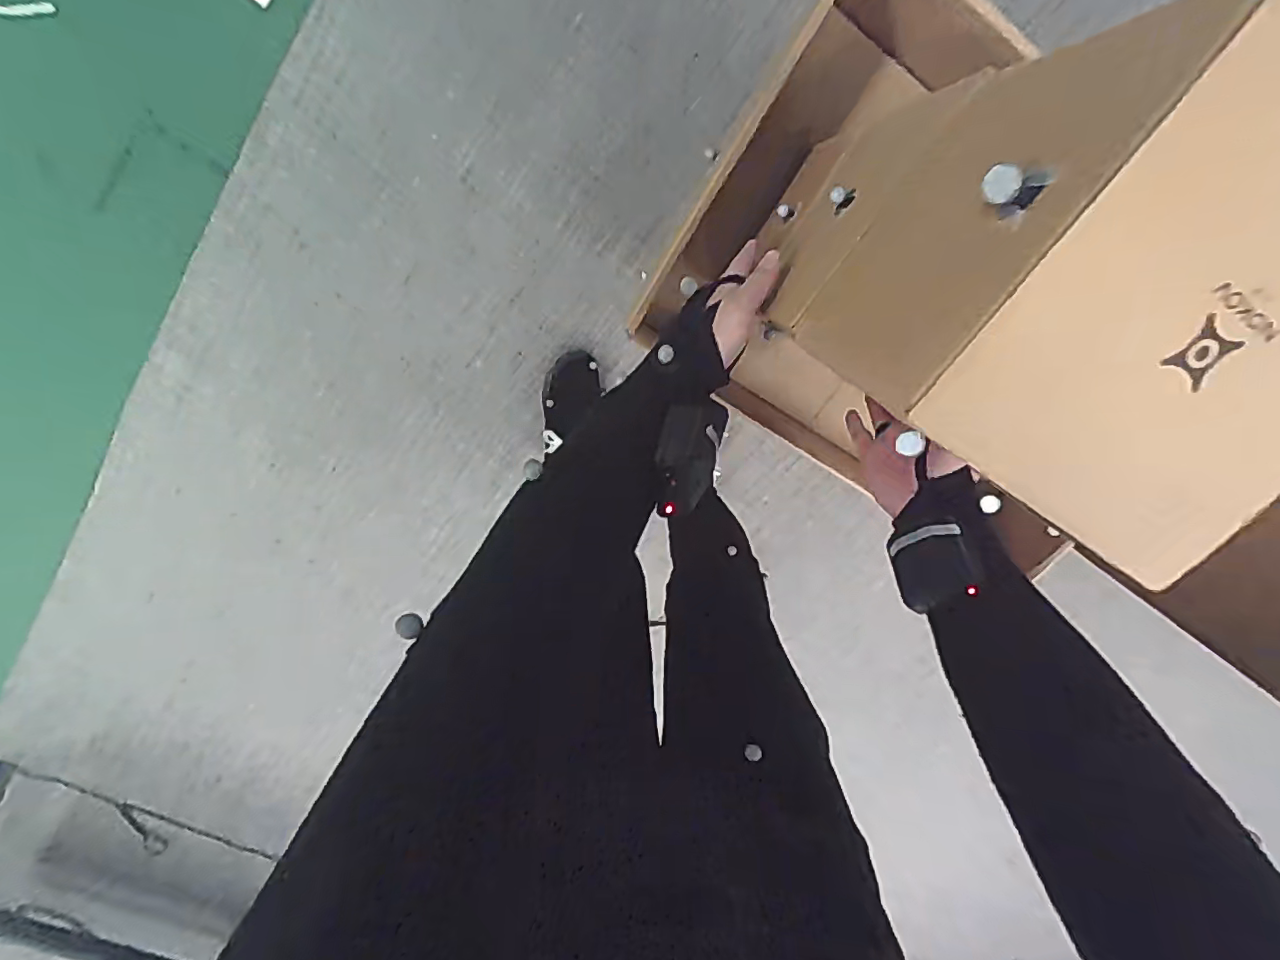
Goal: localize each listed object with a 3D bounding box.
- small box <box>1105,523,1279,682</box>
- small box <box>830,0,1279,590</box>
[{"bbox_3d":[0.461,0.050,0.334,0.168,0.176,0.179,22,113,-11],"label":"small box"},{"bbox_3d":[0.222,-0.087,0.271,0.168,0.176,0.179,30,110,-13],"label":"small box"}]
